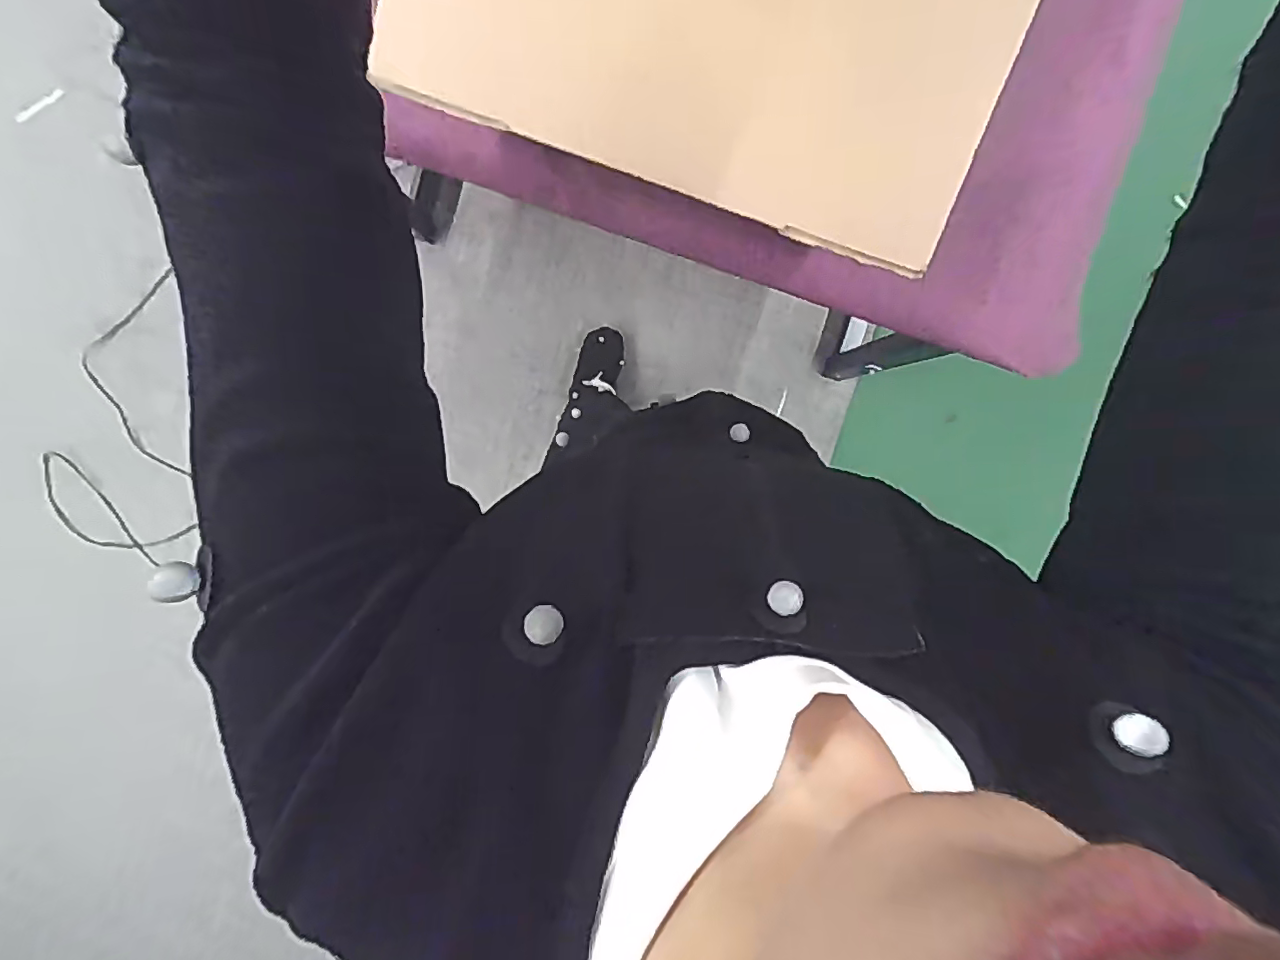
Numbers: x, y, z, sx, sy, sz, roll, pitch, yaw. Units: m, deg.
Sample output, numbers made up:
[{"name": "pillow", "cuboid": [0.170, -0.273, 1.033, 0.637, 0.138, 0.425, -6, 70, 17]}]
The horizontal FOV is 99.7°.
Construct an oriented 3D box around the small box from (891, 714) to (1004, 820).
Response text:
[{"name": "small box", "cuboid": [0.824, 0.767, 1.463, 0.179, 0.176, 0.168, 19, 95, -2]}]
